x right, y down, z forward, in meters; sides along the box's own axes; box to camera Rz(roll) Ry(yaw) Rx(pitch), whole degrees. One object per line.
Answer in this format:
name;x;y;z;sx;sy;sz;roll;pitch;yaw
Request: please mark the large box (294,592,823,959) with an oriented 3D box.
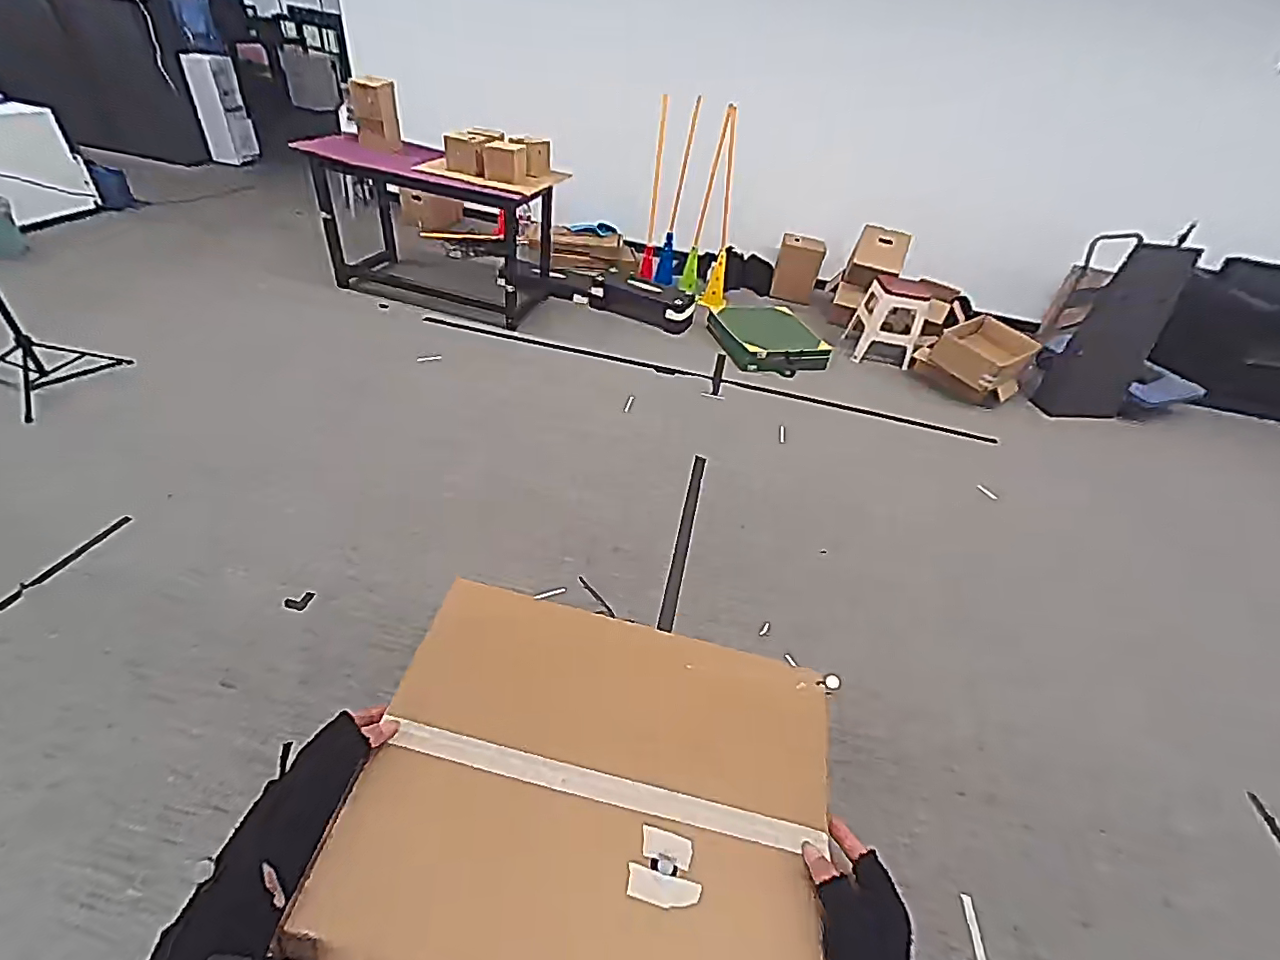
large box;-0.053;0.372;0.594;0.408;0.320;0.320;14;50;2
